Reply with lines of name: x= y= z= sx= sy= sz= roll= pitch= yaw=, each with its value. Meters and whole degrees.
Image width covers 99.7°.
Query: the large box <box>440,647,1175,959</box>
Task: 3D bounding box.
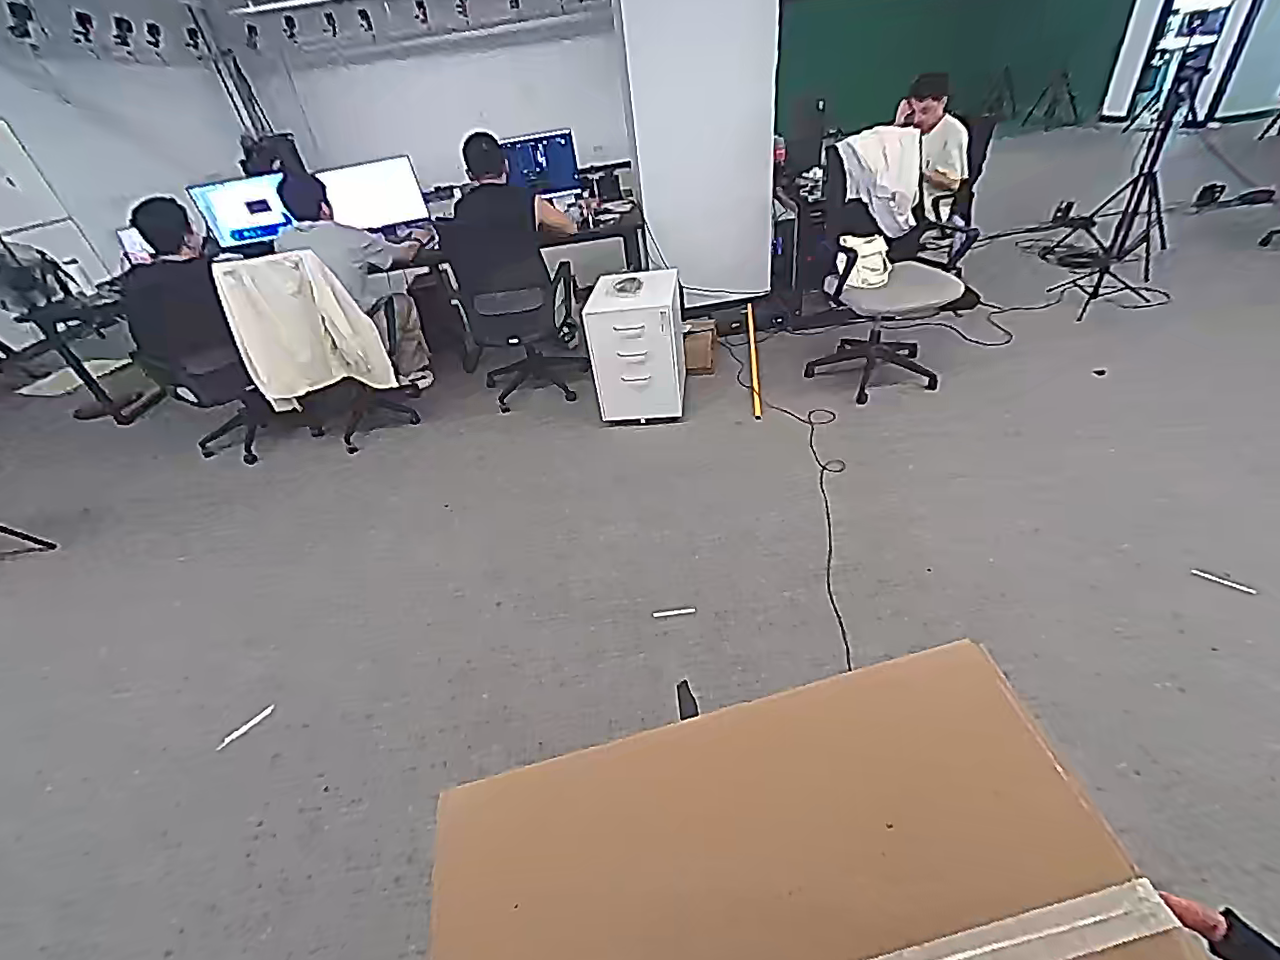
large box: x=0.109 y=0.381 z=0.399 sx=0.408 sy=0.320 sz=0.320 roll=-17 pitch=45 yaw=0
